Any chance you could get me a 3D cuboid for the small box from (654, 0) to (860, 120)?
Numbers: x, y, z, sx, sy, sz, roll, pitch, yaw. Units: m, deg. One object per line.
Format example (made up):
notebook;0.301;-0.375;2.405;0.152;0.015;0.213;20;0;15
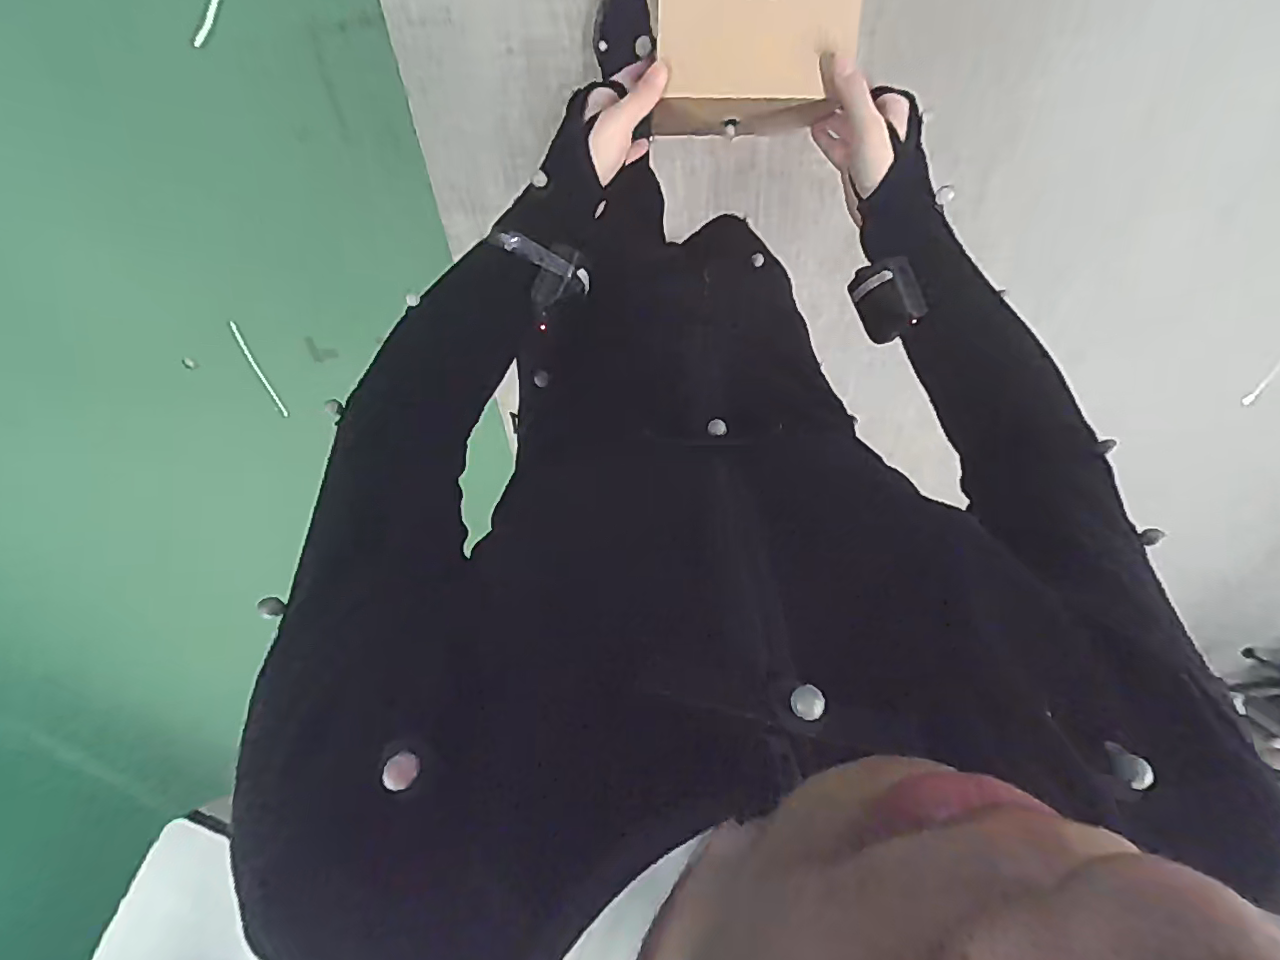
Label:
small box;0.098;-0.445;0.493;0.168;0.176;0.179;1;113;0
